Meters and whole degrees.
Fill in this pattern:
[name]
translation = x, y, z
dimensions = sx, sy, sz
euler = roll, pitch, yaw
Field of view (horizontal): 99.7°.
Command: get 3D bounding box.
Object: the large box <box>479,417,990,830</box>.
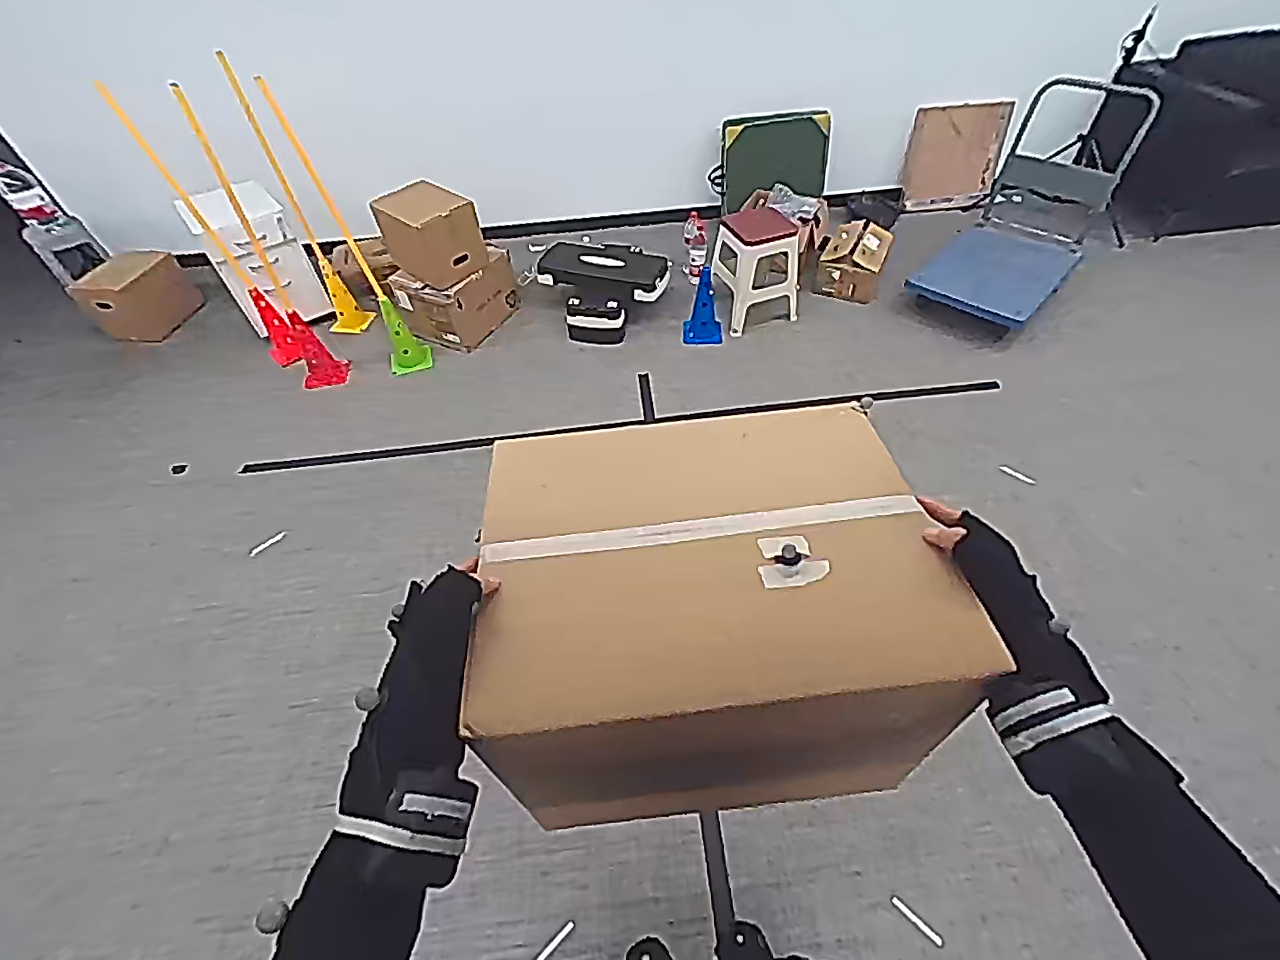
[large box]
translation = 0.066, 0.162, 0.615
dimensions = 0.408, 0.320, 0.320
euler = -7, 47, -2

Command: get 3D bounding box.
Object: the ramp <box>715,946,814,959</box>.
[ramp]
translation = 0.175, 1.412, 0.856
dimensions = 0.509, 0.206, 0.991
euler = -8, 50, -4
